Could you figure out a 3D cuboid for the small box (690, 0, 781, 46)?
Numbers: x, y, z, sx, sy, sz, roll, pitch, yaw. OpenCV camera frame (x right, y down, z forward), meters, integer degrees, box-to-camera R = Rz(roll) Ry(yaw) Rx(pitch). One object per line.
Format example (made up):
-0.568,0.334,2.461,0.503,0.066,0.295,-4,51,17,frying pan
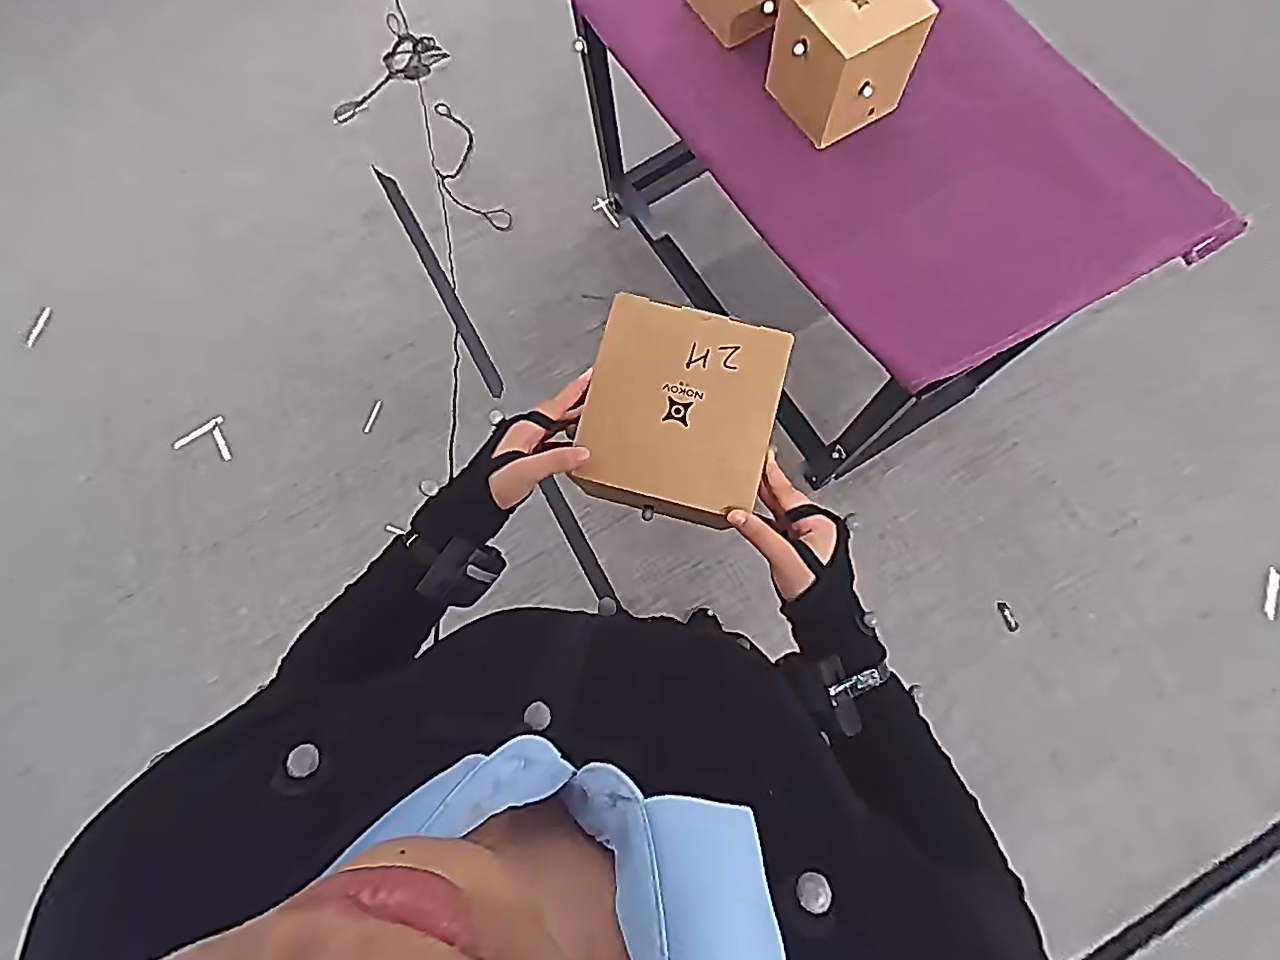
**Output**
0.188,-0.941,0.968,0.168,0.176,0.179,-30,77,-3,small box

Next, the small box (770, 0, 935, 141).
0.339,-0.708,0.902,0.168,0.176,0.179,-30,75,-3,small box
